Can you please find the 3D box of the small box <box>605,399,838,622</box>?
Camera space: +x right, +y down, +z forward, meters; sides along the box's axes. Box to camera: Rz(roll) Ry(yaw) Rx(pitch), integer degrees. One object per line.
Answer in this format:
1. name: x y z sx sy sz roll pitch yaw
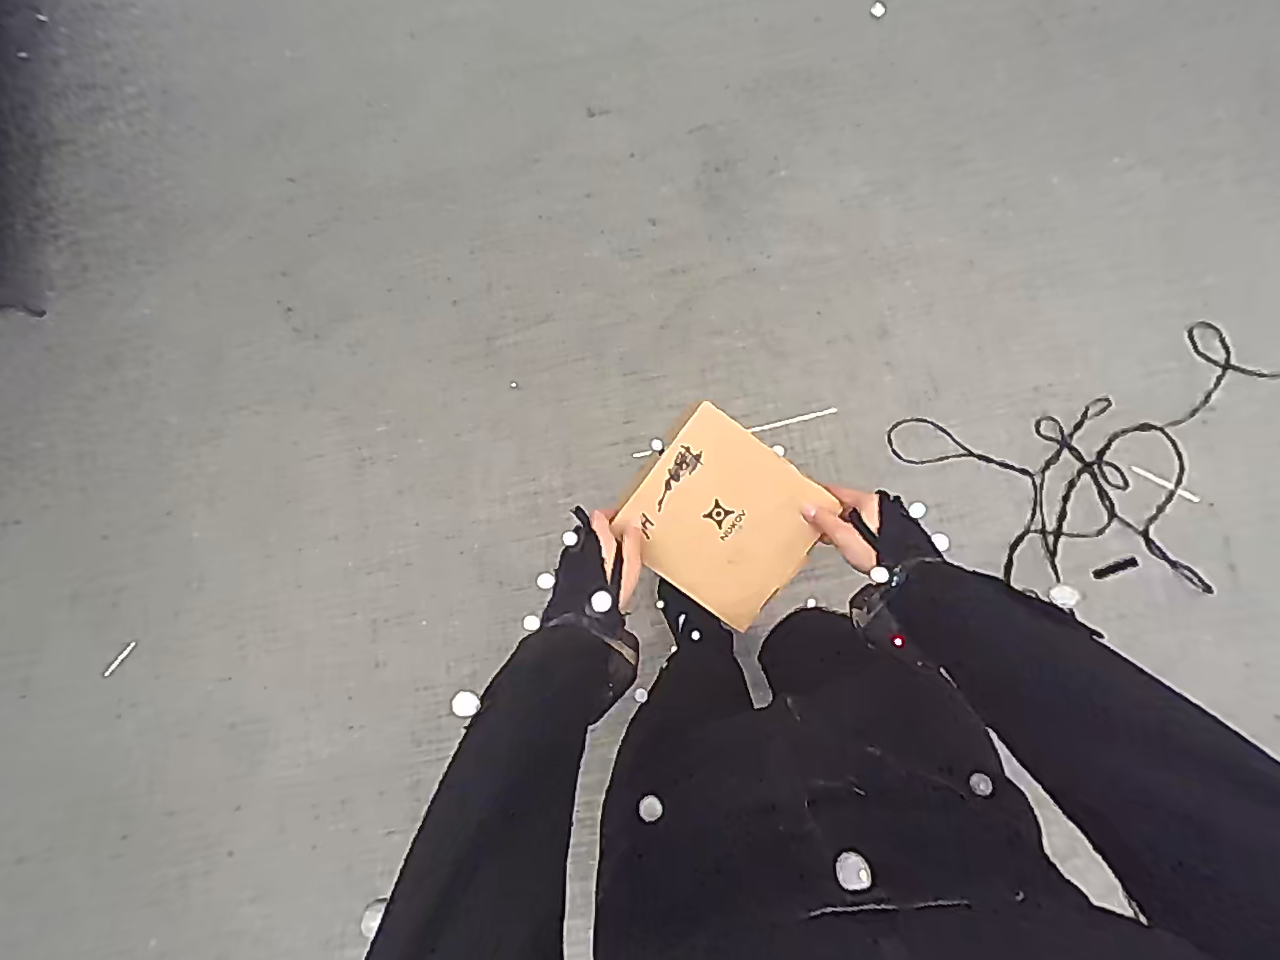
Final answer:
1. small box: 0.082 0.021 0.614 0.179 0.176 0.168 37 97 -4
